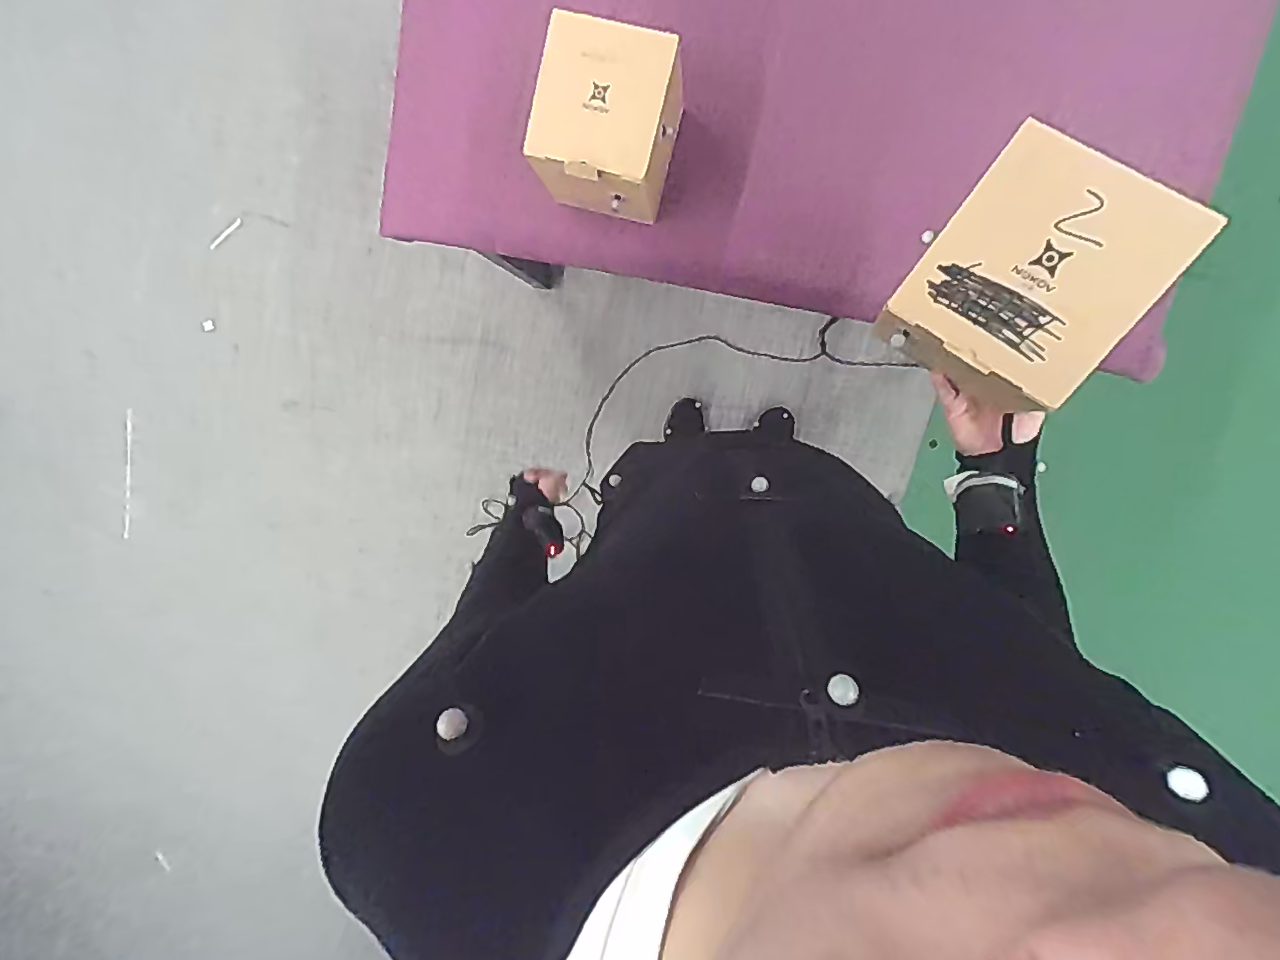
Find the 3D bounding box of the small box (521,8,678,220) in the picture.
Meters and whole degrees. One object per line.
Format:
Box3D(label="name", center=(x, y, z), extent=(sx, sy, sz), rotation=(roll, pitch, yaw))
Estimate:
Box3D(label="small box", center=(-0.046, -0.492, 0.757), extent=(0.168, 0.176, 0.179), rotation=(16, 98, 4))
